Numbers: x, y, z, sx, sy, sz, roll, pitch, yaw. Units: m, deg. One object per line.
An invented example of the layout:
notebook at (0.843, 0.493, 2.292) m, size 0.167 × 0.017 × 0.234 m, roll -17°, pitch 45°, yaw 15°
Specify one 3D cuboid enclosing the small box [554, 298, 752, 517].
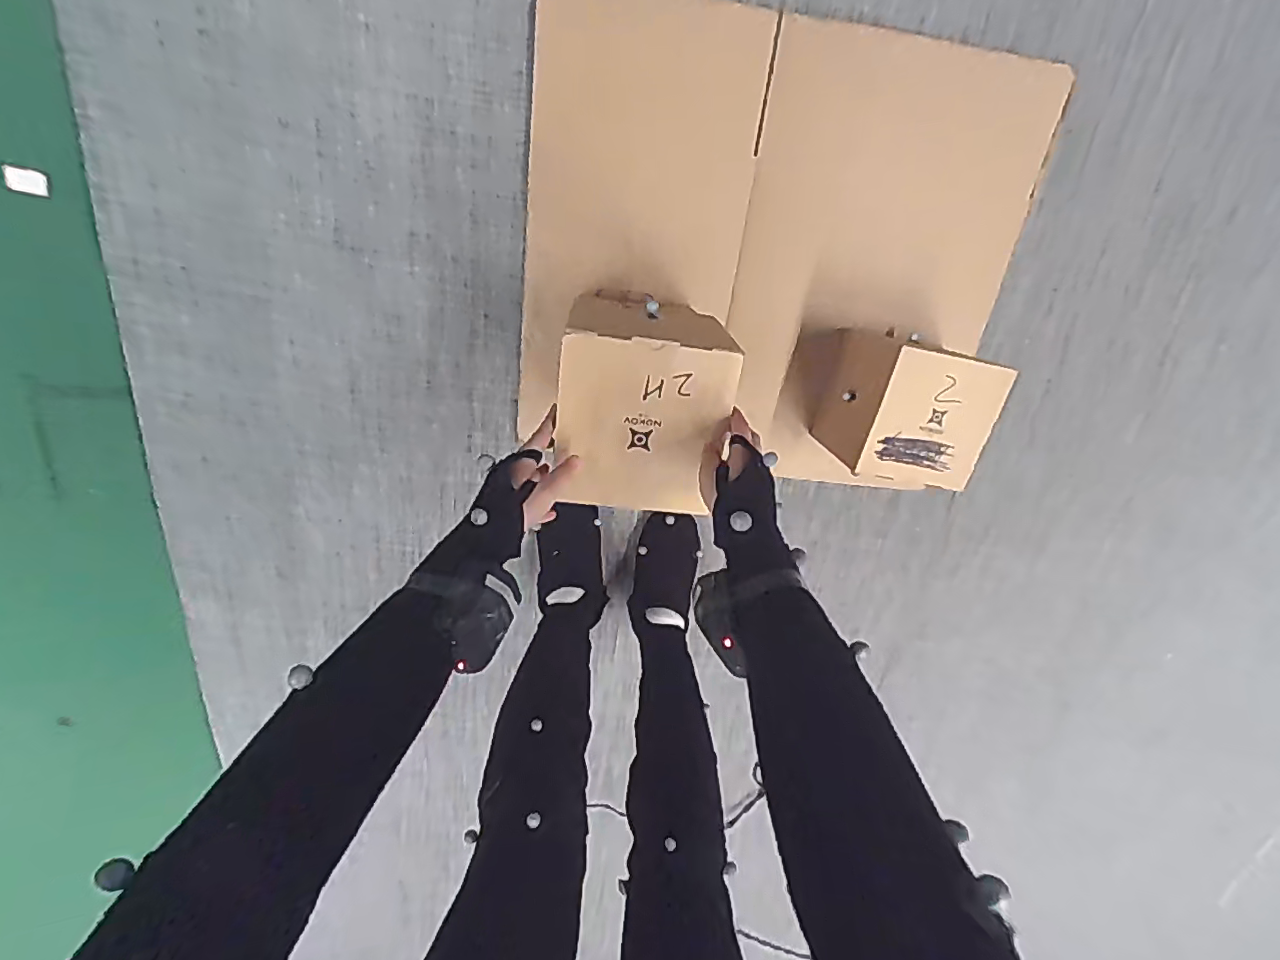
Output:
small box at (0.004, -0.084, 0.583) m, size 0.168 × 0.176 × 0.179 m, roll 7°, pitch 116°, yaw -7°
